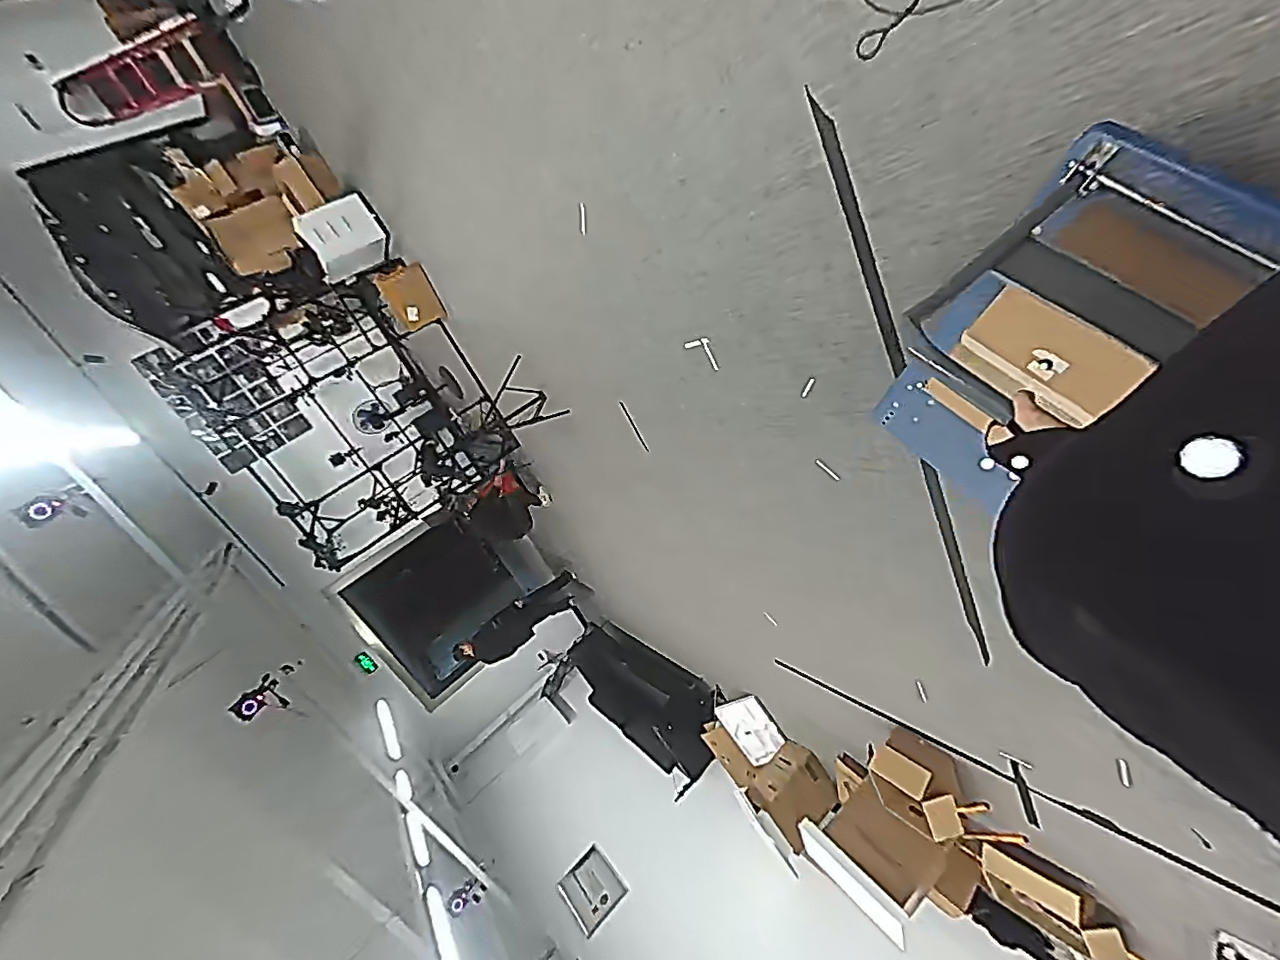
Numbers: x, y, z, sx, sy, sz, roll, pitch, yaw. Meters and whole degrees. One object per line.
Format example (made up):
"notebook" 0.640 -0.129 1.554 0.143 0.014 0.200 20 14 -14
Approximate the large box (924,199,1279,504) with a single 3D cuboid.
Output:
"large box" 0.856 -0.238 1.010 0.408 0.320 0.320 44 156 18
